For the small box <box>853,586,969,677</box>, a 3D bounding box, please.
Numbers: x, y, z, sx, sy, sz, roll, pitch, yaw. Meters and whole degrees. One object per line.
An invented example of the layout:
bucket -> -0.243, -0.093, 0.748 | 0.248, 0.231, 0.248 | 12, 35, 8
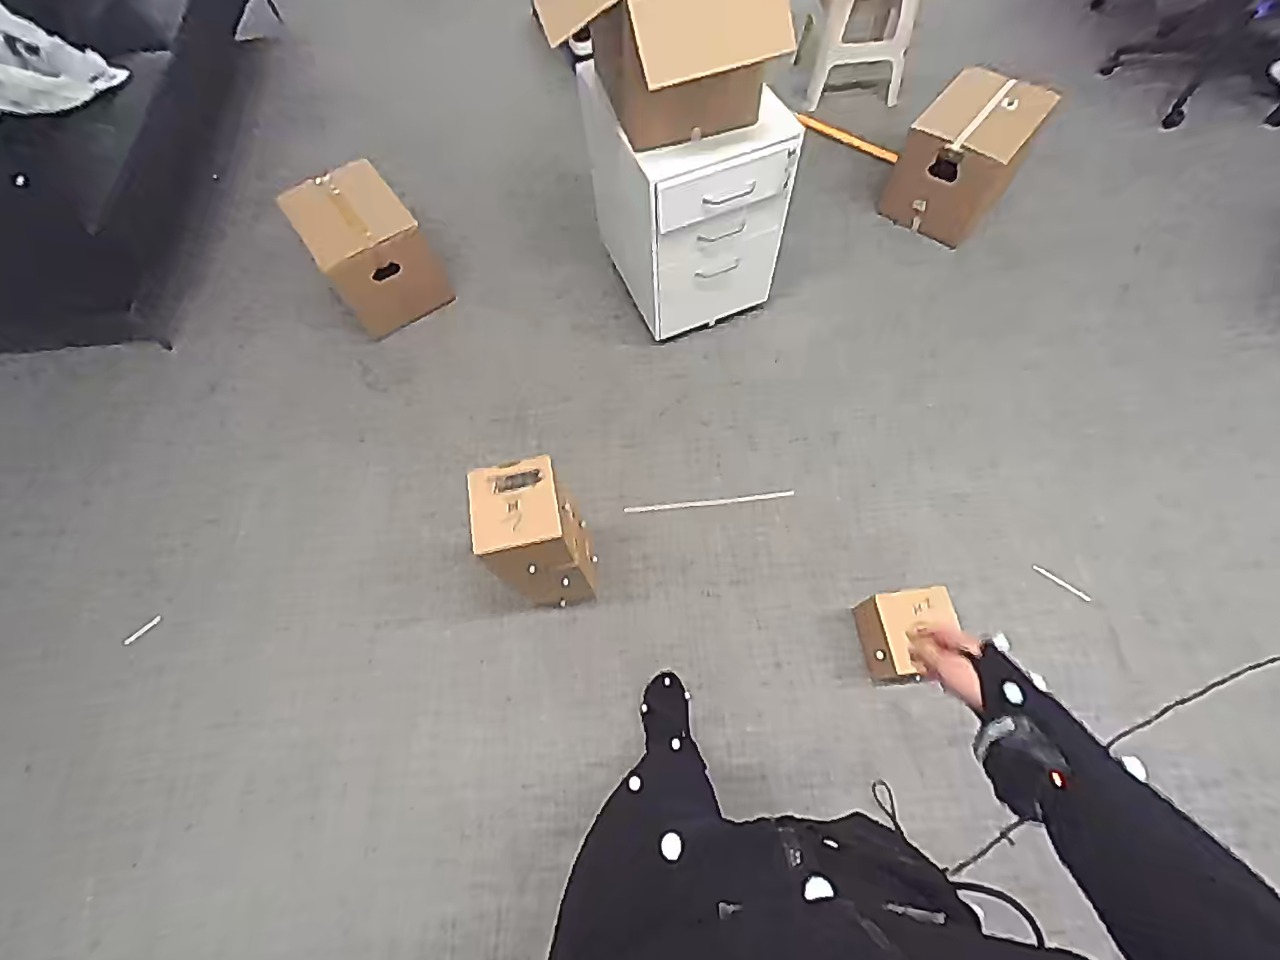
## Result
small box -> 0.622, 0.360, 1.266 | 0.168, 0.176, 0.179 | -8, 65, 0

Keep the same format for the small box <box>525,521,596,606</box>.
small box -> -0.208, 0.219, 1.395 | 0.179, 0.176, 0.168 | -7, 64, 0

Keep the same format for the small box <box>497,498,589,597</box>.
small box -> -0.217, 0.160, 1.244 | 0.179, 0.176, 0.168 | -10, 63, 1
